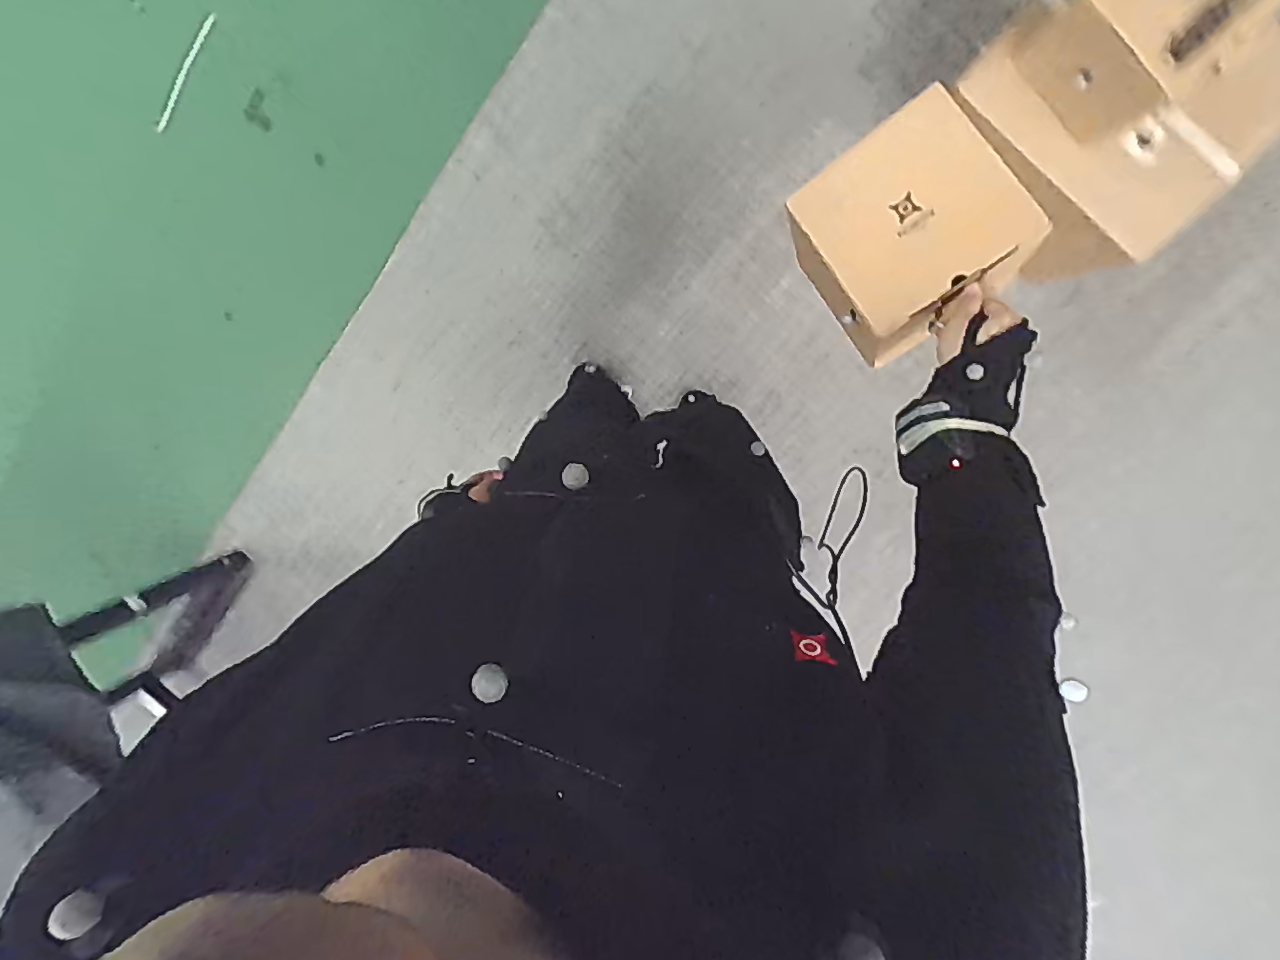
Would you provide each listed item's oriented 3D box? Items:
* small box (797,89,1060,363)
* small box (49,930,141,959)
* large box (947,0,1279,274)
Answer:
[{"bbox_3d":[0.288,-0.250,0.584,0.168,0.176,0.179,-32,81,18],"label":"small box"},{"bbox_3d":[-1.021,0.947,0.957,0.168,0.176,0.179,-39,96,18],"label":"small box"},{"bbox_3d":[0.748,-0.623,0.935,0.408,0.320,0.320,40,108,-4],"label":"large box"}]
